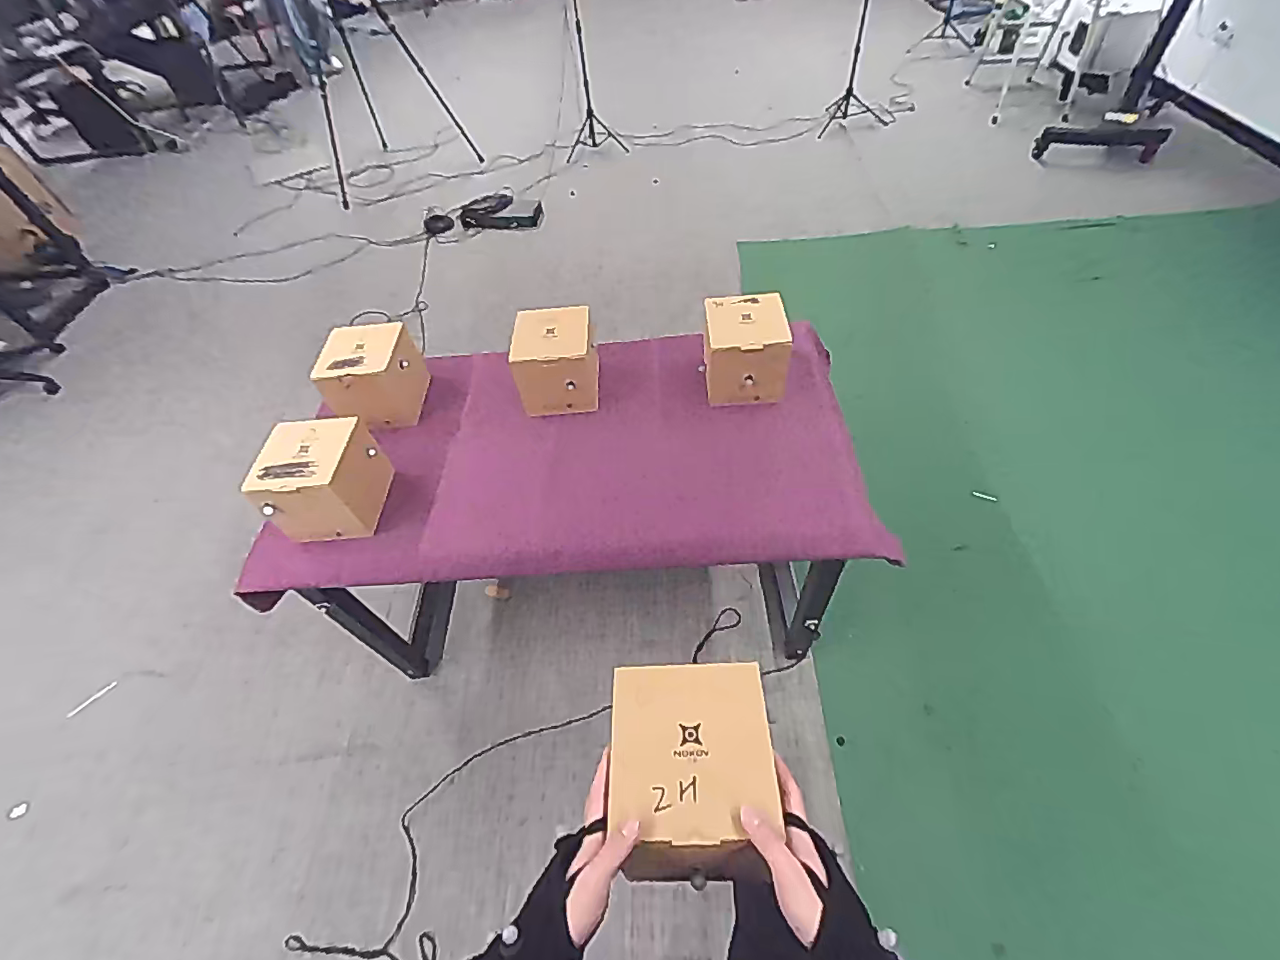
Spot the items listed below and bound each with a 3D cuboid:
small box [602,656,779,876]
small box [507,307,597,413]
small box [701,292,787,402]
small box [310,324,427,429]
[{"bbox_3d":[0.055,0.321,0.610,0.168,0.176,0.179,-4,43,5],"label":"small box"},{"bbox_3d":[-0.191,-0.266,1.230,0.168,0.176,0.179,-4,52,3],"label":"small box"},{"bbox_3d":[0.223,-0.286,1.195,0.168,0.176,0.179,-4,53,4],"label":"small box"},{"bbox_3d":[-0.613,-0.231,1.249,0.168,0.176,0.179,-5,52,2],"label":"small box"}]
